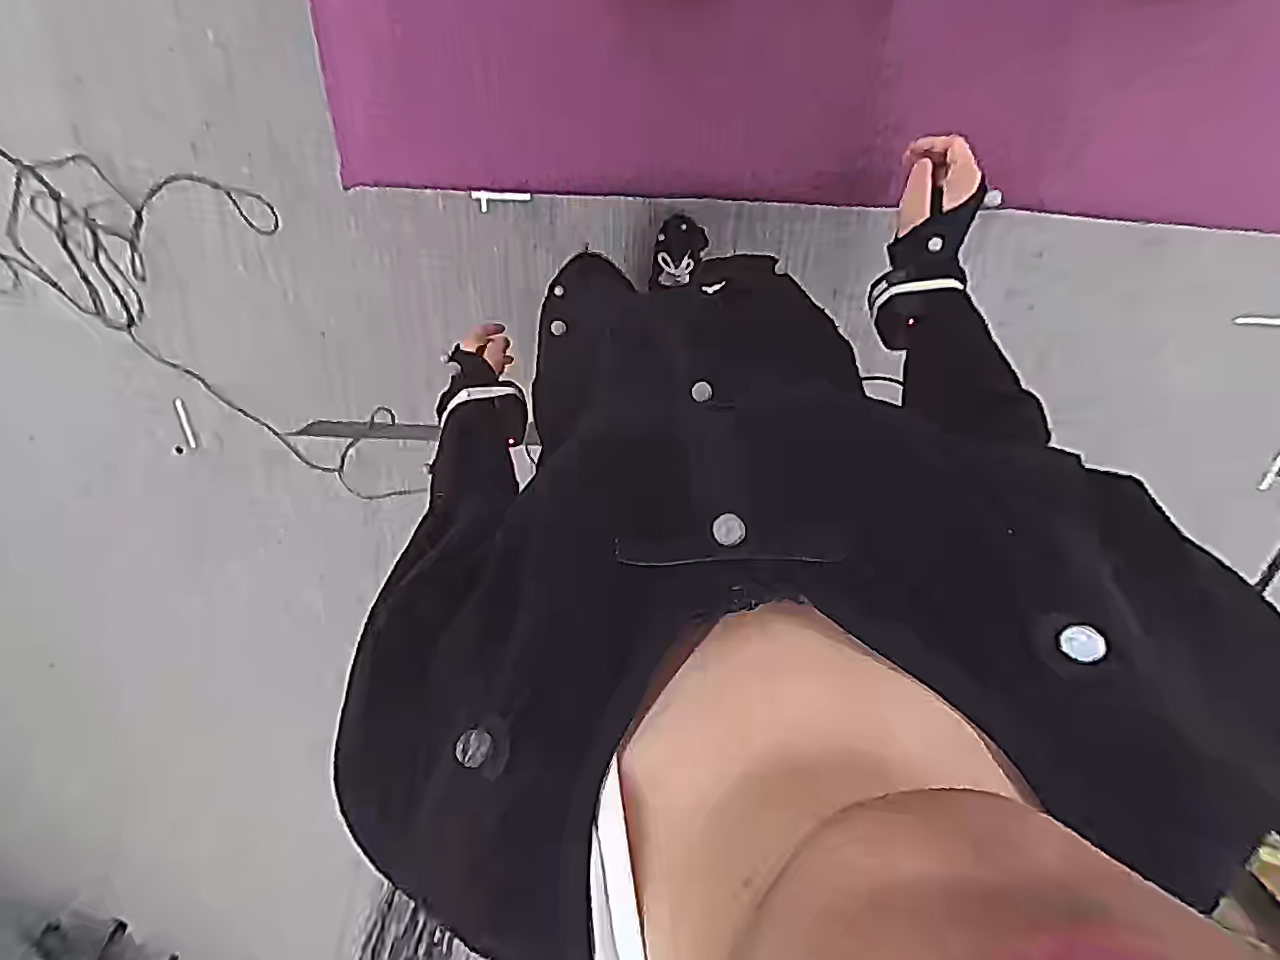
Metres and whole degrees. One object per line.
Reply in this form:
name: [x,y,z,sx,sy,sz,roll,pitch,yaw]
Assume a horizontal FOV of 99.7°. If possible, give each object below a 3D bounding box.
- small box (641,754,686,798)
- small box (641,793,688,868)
small box: [0.087,1.189,2.101,0.168,0.176,0.179,-1,117,1]
small box: [0.088,1.266,1.956,0.168,0.176,0.179,-3,118,1]
